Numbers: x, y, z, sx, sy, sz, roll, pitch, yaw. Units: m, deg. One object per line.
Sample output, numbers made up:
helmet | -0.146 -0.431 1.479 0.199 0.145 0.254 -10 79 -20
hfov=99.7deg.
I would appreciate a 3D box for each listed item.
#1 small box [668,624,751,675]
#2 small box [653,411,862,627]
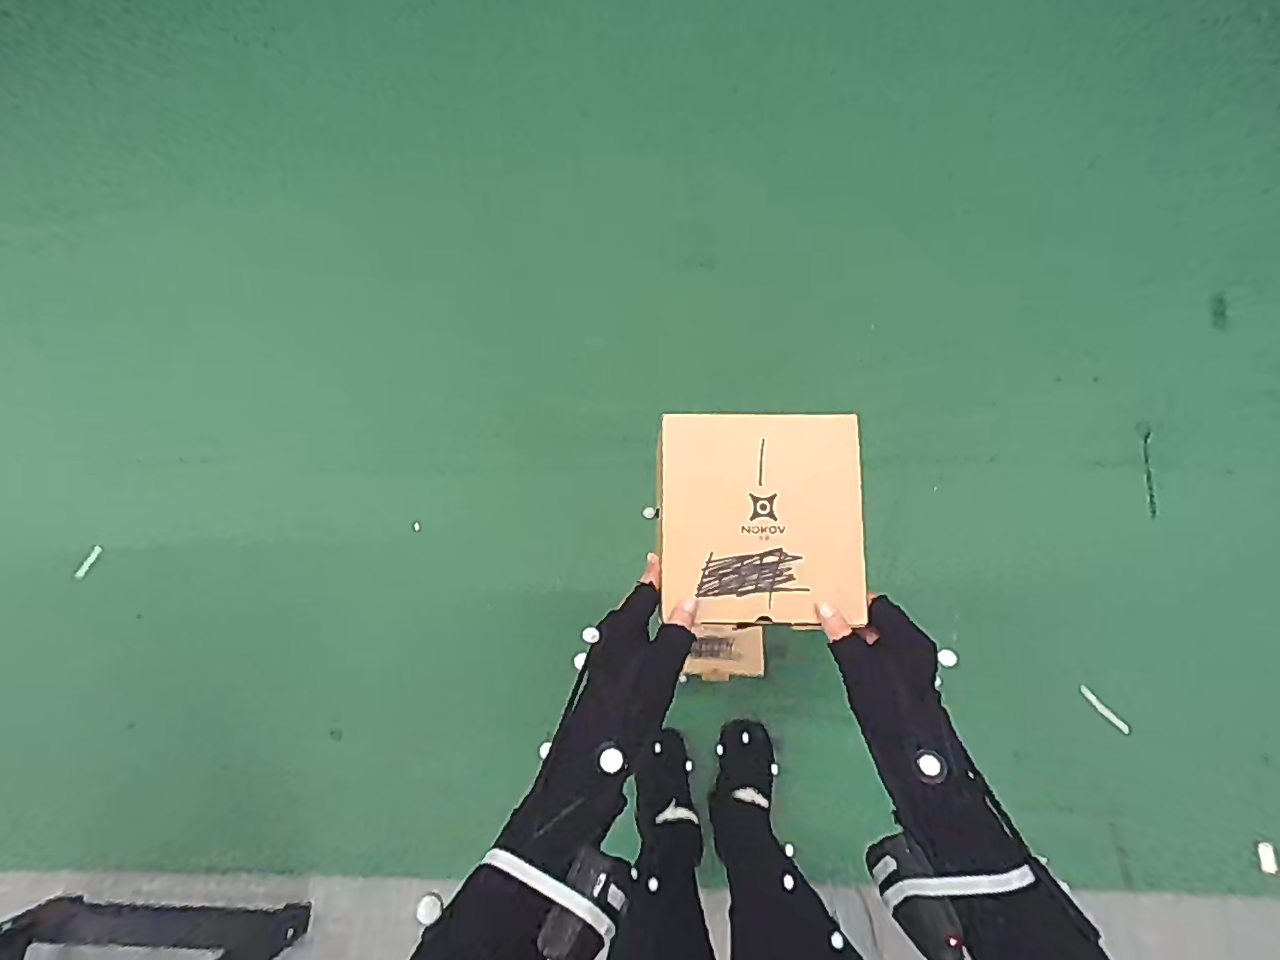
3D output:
small box | 0.145 0.321 1.168 0.168 0.176 0.179 0 76 4
small box | 0.097 0.040 0.518 0.168 0.176 0.179 1 82 0
